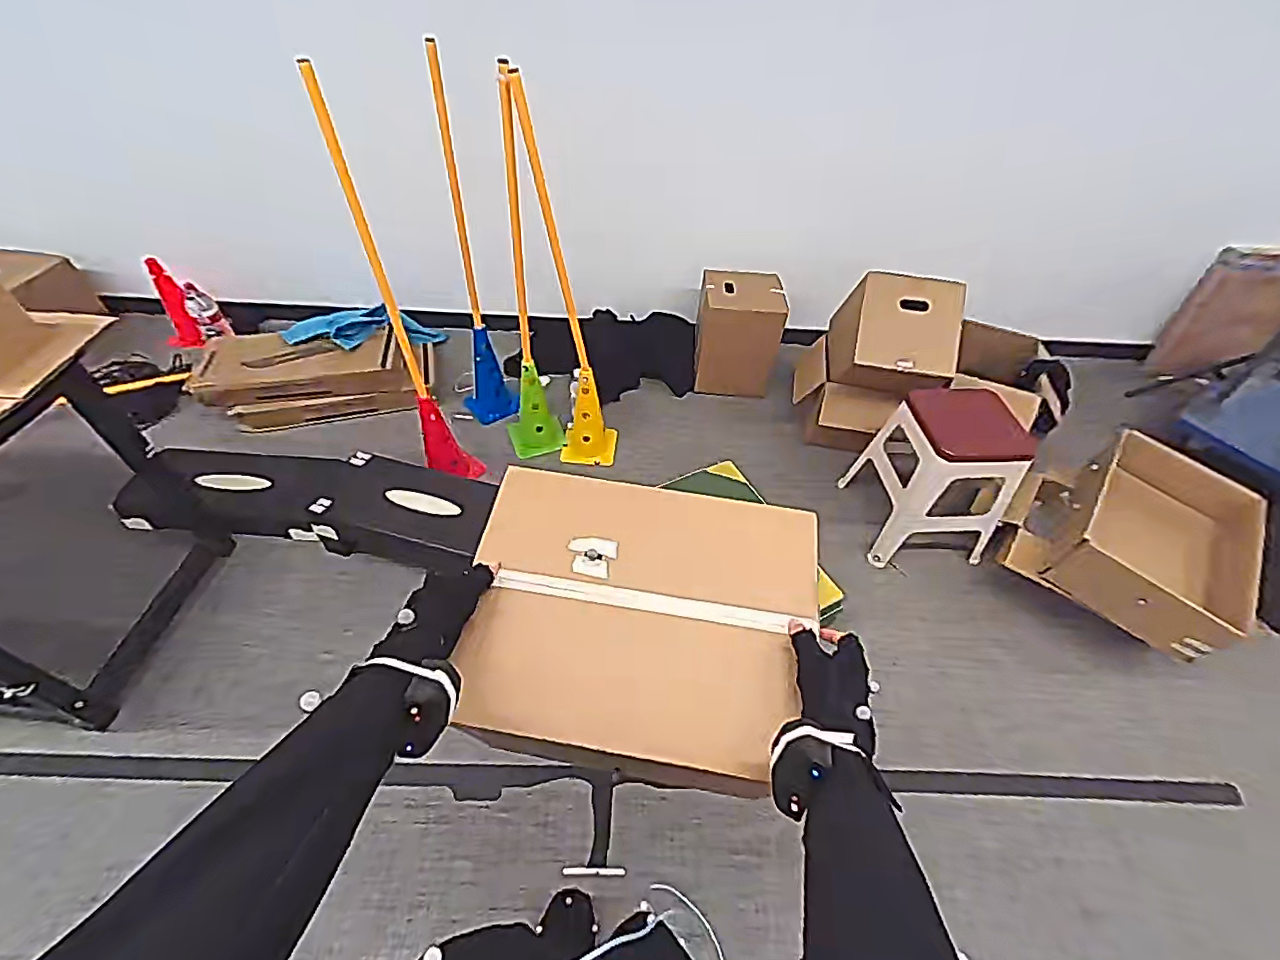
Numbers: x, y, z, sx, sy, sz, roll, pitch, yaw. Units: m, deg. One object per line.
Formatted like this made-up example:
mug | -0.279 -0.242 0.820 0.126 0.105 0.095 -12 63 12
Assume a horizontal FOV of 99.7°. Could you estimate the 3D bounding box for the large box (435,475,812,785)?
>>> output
large box | -0.001 0.223 0.761 0.408 0.320 0.320 8 58 4
